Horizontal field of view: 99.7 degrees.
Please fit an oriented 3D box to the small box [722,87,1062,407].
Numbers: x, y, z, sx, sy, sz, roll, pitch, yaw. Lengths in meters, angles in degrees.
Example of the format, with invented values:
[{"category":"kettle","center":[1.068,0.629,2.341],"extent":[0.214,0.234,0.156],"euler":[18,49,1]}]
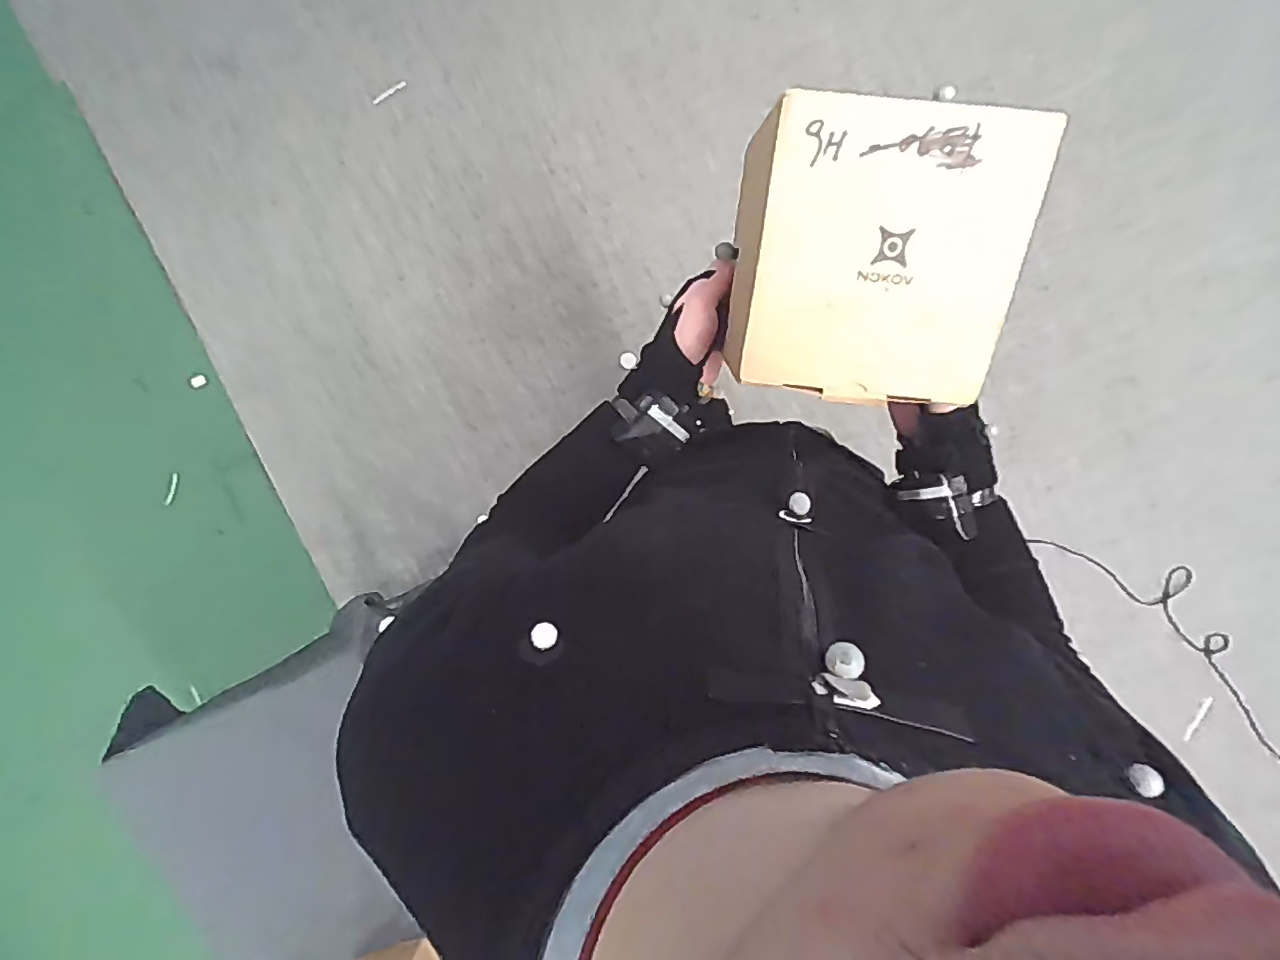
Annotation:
[{"category":"small box","center":[0.161,-0.171,0.420],"extent":[0.168,0.176,0.179],"euler":[6,113,0]}]
